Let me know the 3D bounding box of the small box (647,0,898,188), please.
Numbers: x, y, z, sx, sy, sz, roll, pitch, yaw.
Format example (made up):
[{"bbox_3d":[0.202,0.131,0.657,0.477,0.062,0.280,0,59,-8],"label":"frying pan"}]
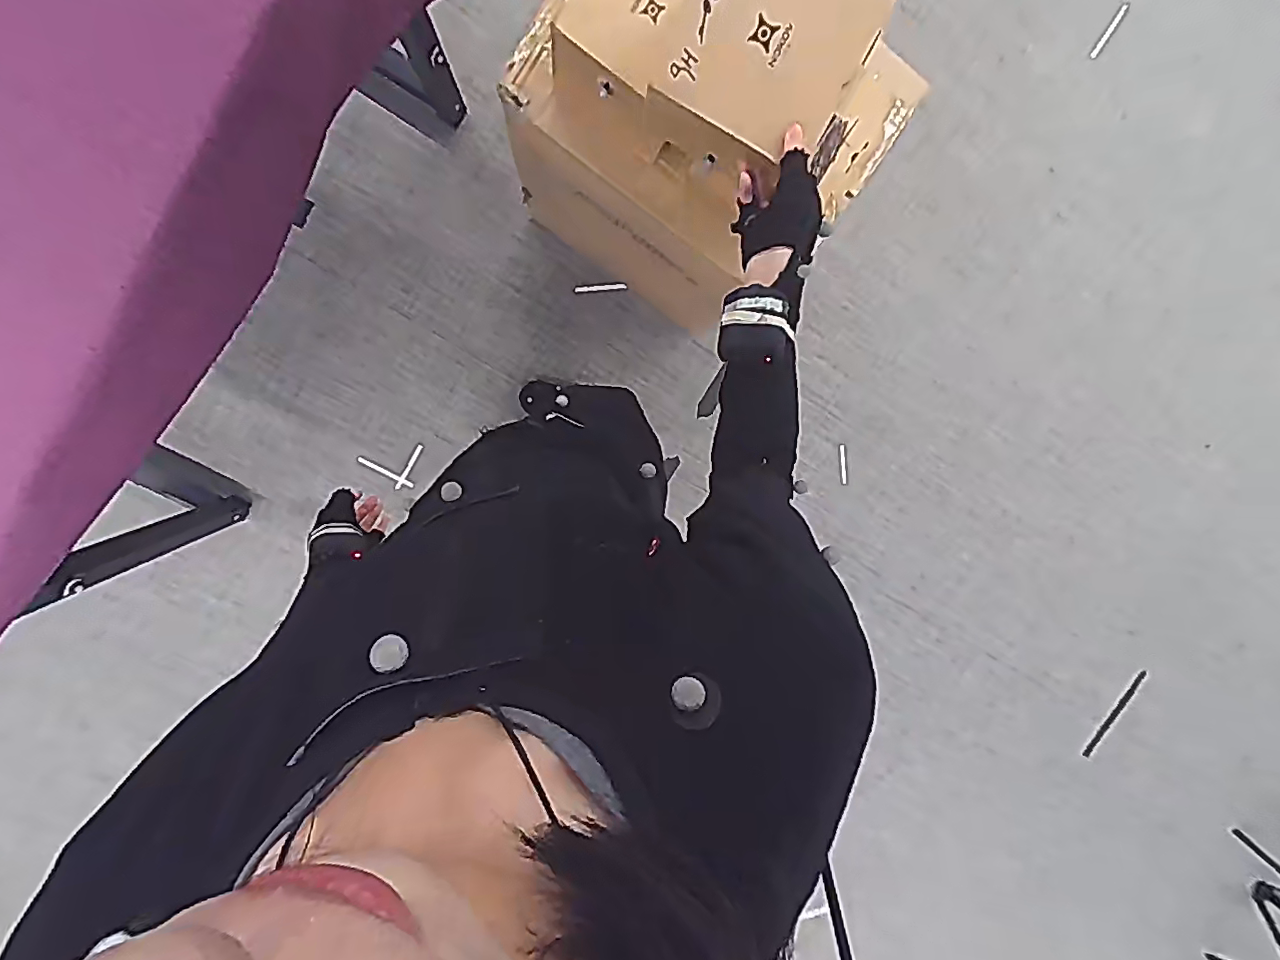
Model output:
[{"bbox_3d":[0.120,-0.435,0.571,0.179,0.176,0.168,26,108,-10],"label":"small box"}]

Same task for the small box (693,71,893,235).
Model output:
[{"bbox_3d":[0.197,-0.468,0.748,0.179,0.176,0.168,35,95,-10],"label":"small box"}]

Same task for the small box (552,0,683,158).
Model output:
[{"bbox_3d":[0.002,-0.565,0.707,0.179,0.176,0.168,31,97,-13],"label":"small box"}]
